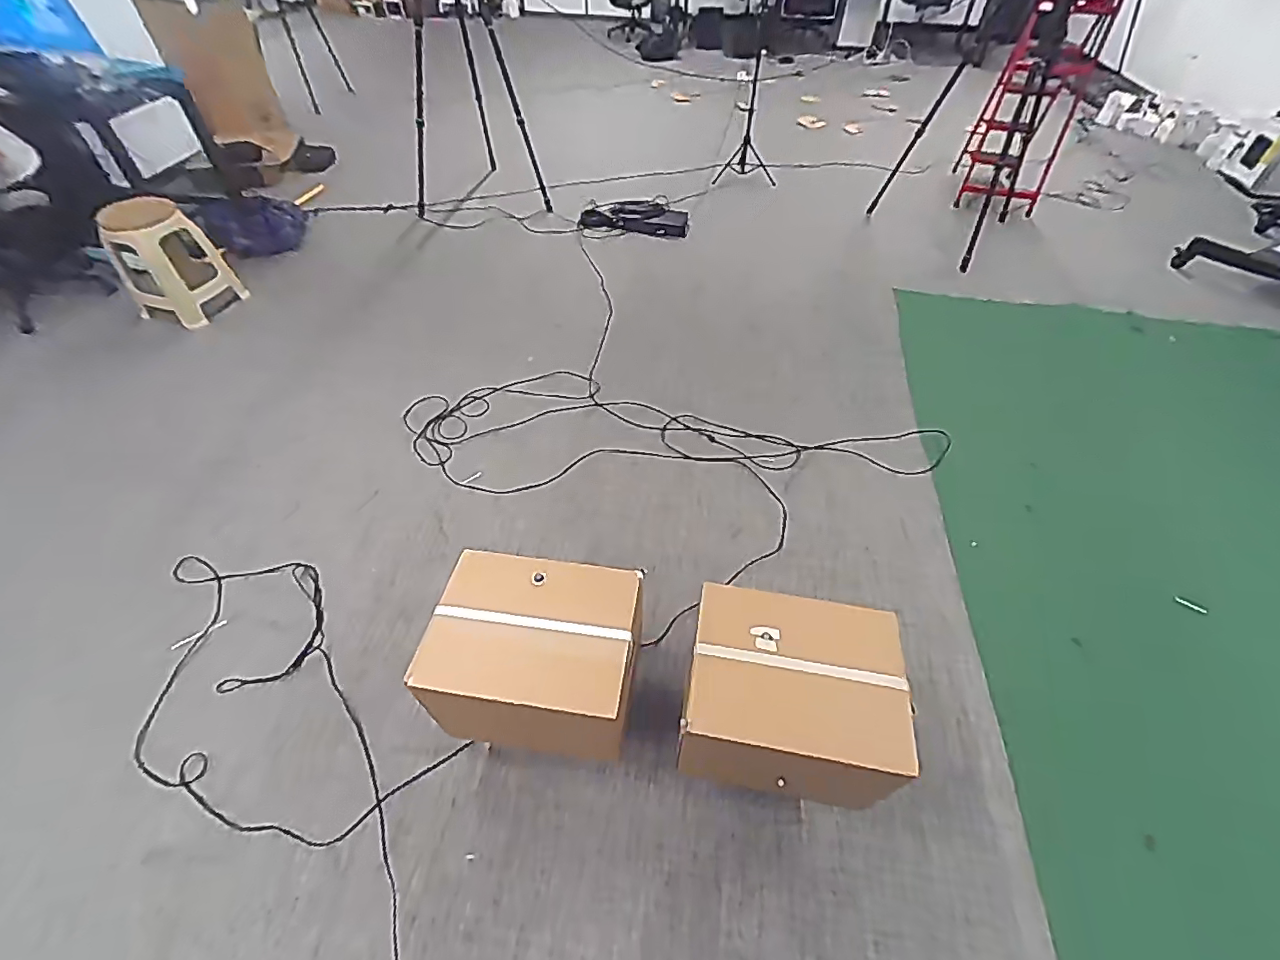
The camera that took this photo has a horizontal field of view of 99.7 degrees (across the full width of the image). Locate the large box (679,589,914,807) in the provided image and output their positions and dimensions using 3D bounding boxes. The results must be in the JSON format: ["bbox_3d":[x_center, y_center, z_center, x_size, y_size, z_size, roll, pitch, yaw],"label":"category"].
[{"bbox_3d":[0.310,0.472,1.165,0.408,0.320,0.320,8,49,7],"label":"large box"}]
